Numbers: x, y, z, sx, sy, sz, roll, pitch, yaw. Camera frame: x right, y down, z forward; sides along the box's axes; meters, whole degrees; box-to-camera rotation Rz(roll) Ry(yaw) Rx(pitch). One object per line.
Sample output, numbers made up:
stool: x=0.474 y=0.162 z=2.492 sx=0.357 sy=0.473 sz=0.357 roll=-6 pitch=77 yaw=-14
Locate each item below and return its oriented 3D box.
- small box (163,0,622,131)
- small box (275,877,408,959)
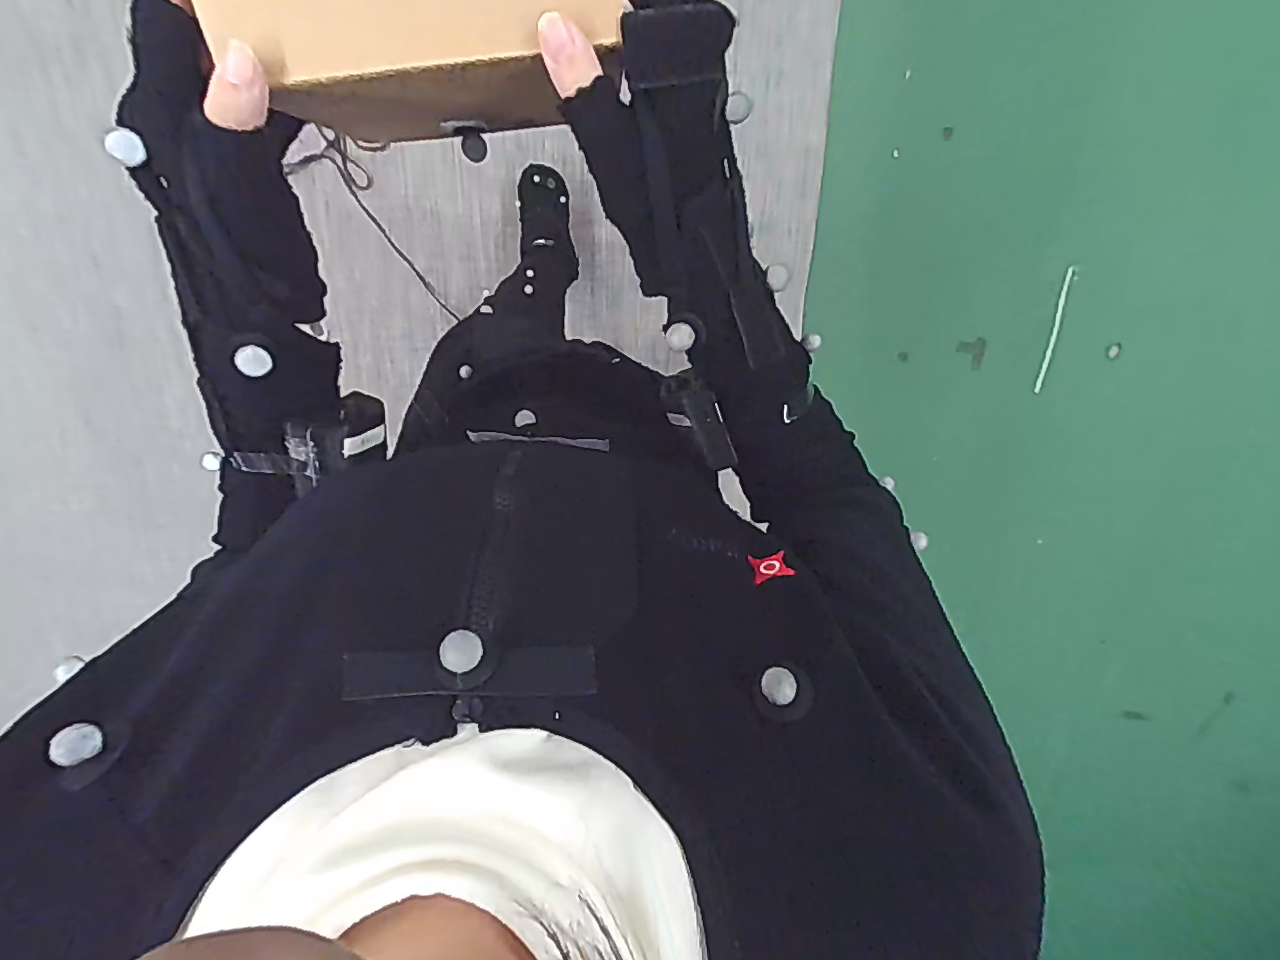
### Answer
small box: x=-0.102 y=-0.278 z=0.239 sx=0.168 sy=0.176 sz=0.179 roll=-8 pitch=116 yaw=-1
small box: x=-0.555 y=0.892 z=1.019 sx=0.168 sy=0.176 sz=0.179 roll=-1 pitch=110 yaw=-4
